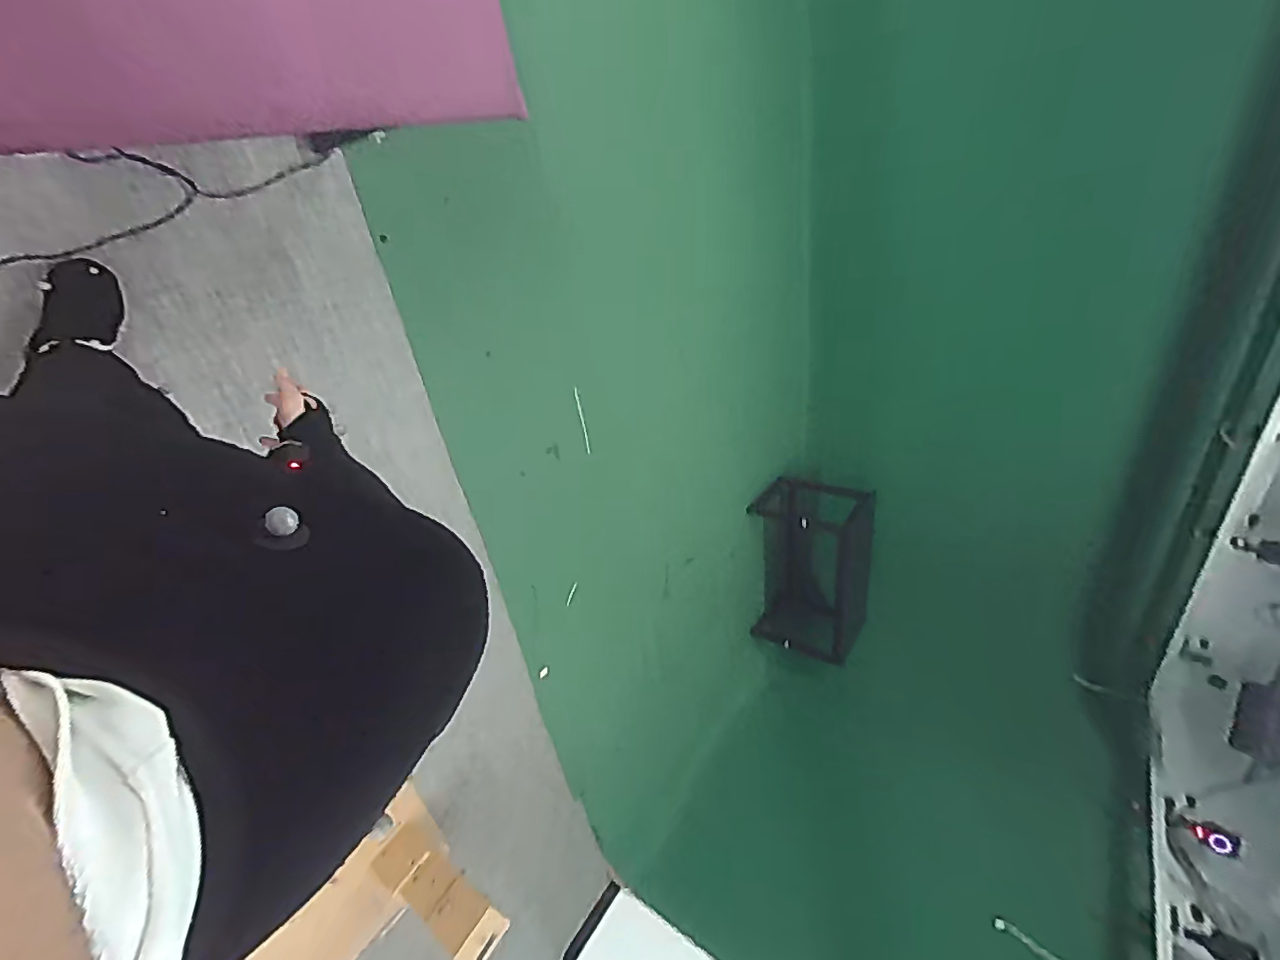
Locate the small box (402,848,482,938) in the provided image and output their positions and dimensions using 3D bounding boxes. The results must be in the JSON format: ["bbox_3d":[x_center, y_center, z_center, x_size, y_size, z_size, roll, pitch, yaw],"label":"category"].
[{"bbox_3d":[-0.697,1.438,1.896,0.168,0.176,0.179,-43,134,-36],"label":"small box"}]

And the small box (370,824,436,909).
[{"bbox_3d":[-0.841,1.403,1.972,0.168,0.176,0.179,-45,134,-36],"label":"small box"}]
